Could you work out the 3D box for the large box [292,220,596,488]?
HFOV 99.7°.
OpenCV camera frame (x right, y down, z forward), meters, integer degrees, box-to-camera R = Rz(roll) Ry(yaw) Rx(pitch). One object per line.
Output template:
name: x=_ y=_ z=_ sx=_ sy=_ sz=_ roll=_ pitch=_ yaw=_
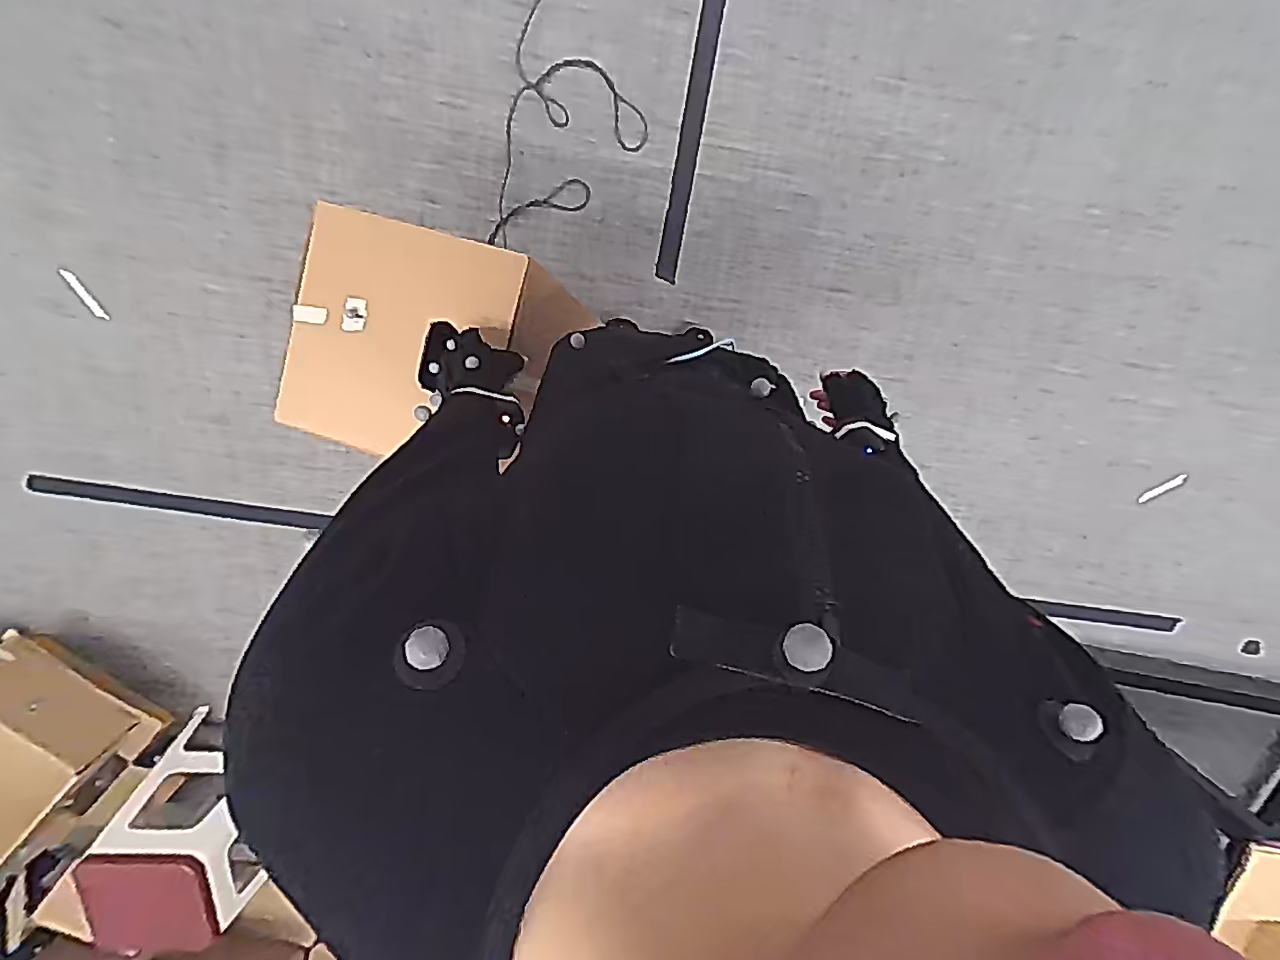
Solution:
large box: x=-0.299 y=-0.195 z=0.932 sx=0.320 sy=0.408 sz=0.320 roll=18 pitch=97 yaw=6
